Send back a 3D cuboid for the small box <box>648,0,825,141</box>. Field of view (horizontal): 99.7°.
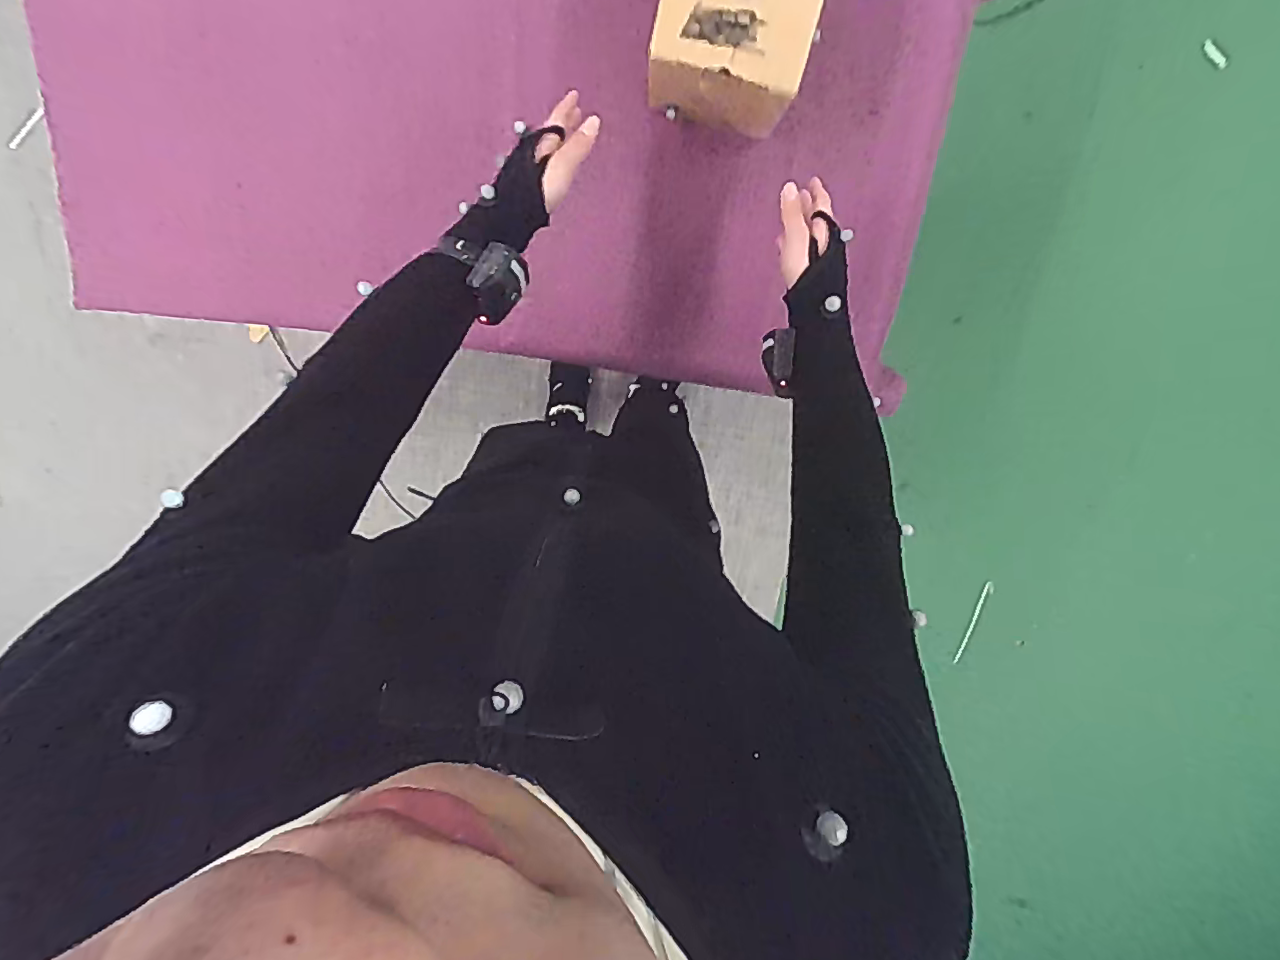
[{"bbox_3d":[0.111,-0.527,0.626,0.168,0.176,0.179,14,107,-4],"label":"small box"}]

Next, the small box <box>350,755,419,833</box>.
[{"bbox_3d":[-0.899,1.106,1.915,0.179,0.176,0.168,8,108,-1],"label":"small box"}]
